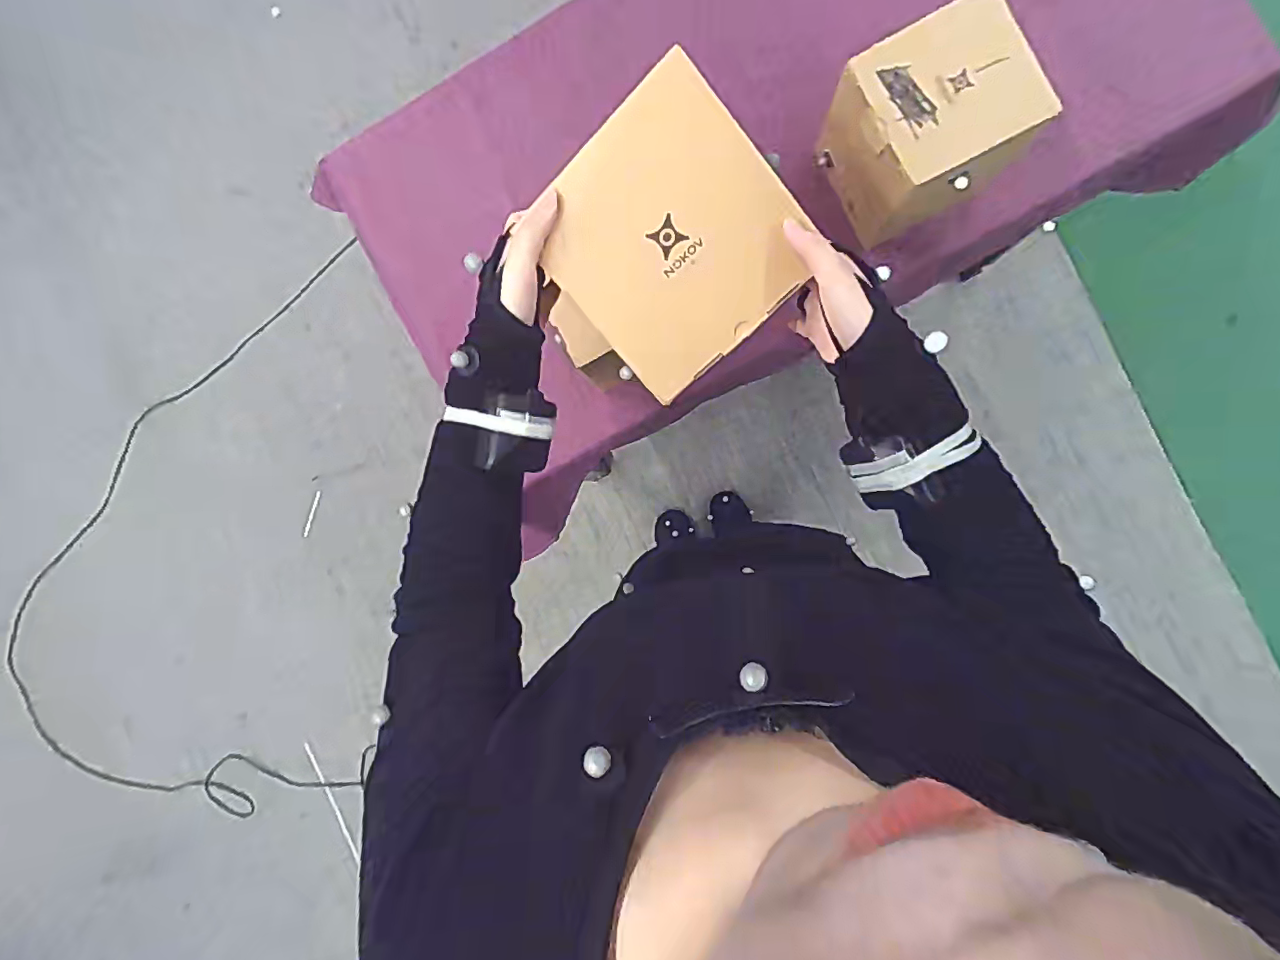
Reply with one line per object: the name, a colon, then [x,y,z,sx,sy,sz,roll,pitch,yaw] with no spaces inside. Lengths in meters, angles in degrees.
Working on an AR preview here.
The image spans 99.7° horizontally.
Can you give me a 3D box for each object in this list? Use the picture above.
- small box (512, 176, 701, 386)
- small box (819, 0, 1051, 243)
small box: [-0.035,-0.245,0.713,0.179,0.176,0.168,-29,87,5]
small box: [0.342,-0.433,0.674,0.179,0.176,0.168,-26,87,5]
